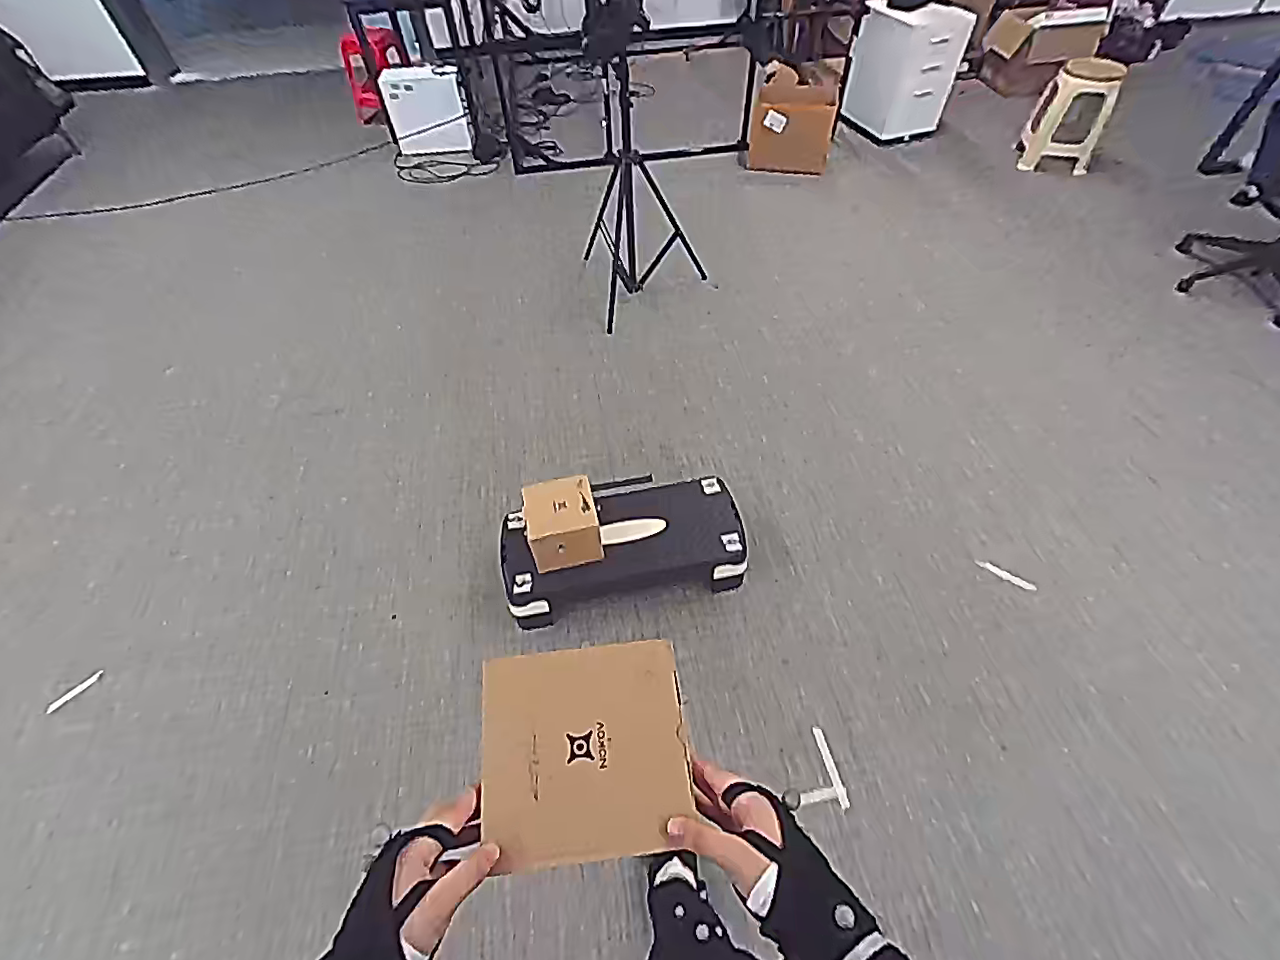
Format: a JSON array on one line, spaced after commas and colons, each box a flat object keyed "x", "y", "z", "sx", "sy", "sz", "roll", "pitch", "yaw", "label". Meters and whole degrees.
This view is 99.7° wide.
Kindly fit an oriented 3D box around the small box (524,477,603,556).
[{"x": -0.197, "y": 0.120, "z": 1.413, "sx": 0.179, "sy": 0.176, "sz": 0.168, "roll": -12, "pitch": 53, "yaw": -7, "label": "small box"}]

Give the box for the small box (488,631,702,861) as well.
[{"x": -0.044, "y": 0.261, "z": 0.541, "sx": 0.179, "sy": 0.176, "sz": 0.168, "roll": -7, "pitch": 61, "yaw": -3, "label": "small box"}]
